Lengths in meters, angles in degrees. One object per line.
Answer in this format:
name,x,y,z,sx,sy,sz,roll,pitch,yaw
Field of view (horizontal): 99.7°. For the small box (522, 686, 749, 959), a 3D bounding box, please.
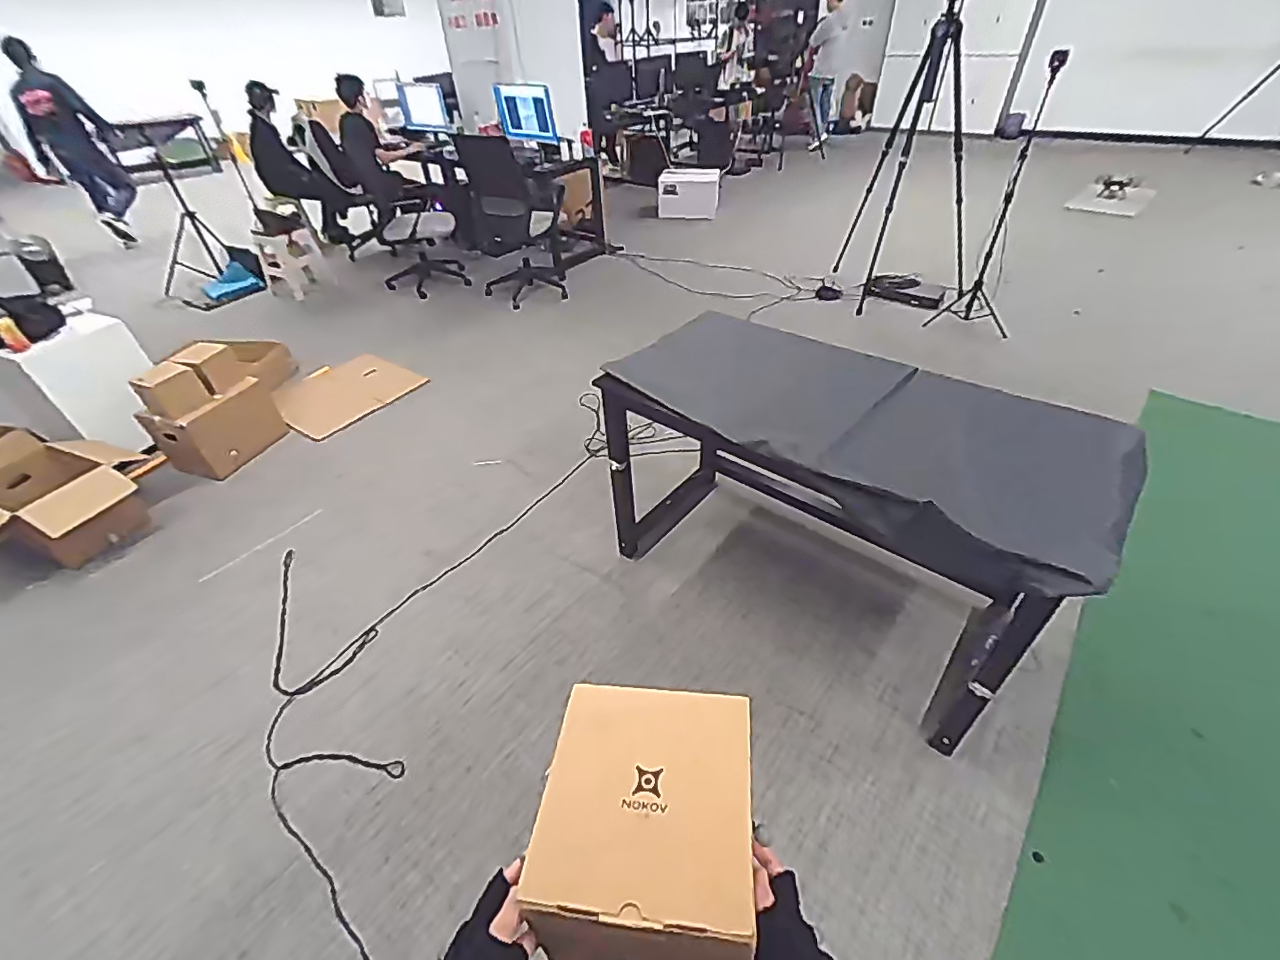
small box,0.011,0.318,0.490,0.168,0.176,0.179,1,37,9
